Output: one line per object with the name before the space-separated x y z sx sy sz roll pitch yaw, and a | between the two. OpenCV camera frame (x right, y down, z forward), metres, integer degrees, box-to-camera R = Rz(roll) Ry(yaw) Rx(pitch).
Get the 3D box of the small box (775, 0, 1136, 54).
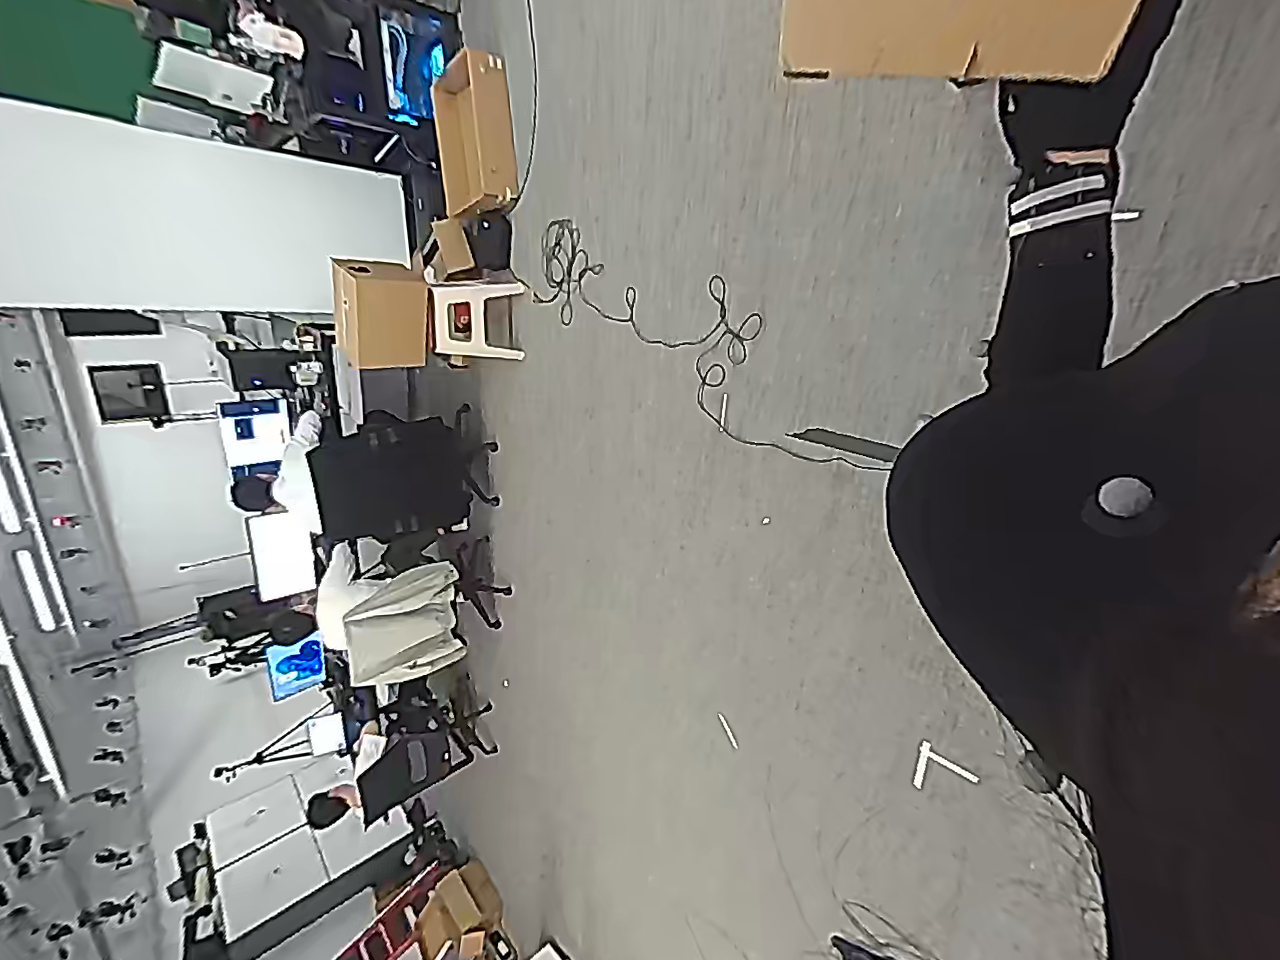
small box | 0.179 -0.331 0.263 0.168 0.179 0.176 22 143 24
